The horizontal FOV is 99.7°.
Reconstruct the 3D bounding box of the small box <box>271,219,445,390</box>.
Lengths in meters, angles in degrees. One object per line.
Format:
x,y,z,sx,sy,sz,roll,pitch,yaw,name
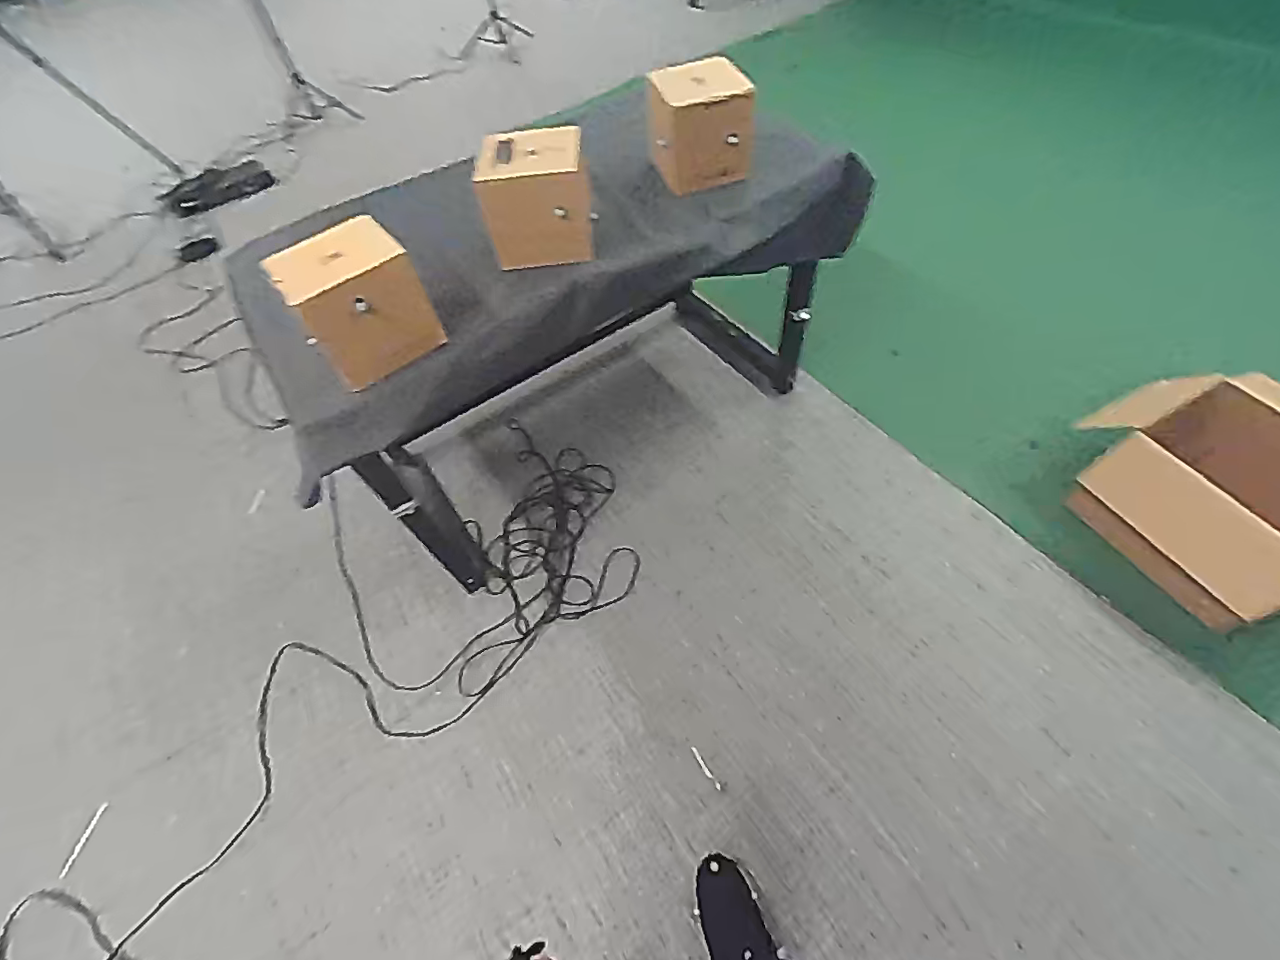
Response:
-0.440,-0.281,0.873,0.179,0.176,0.168,-36,56,-17,small box

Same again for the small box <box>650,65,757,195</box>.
0.126,-0.708,1.108,0.168,0.176,0.179,-16,54,-6,small box
